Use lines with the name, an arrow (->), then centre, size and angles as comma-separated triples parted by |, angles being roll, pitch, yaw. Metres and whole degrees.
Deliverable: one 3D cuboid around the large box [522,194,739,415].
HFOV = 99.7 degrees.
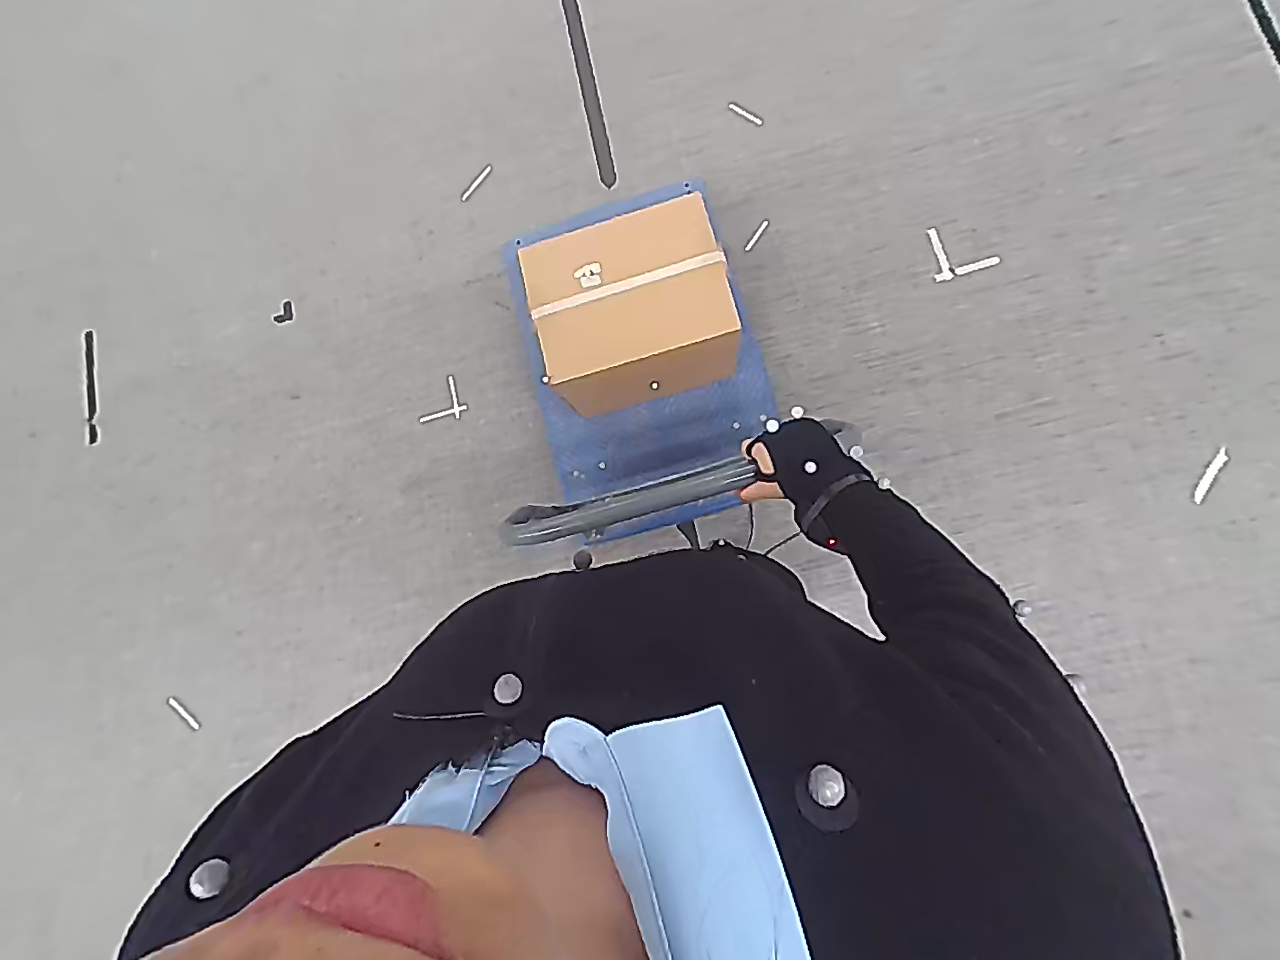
large box -> -0.007, -0.380, 1.268 | 0.408, 0.320, 0.320 | -16, 81, 6
